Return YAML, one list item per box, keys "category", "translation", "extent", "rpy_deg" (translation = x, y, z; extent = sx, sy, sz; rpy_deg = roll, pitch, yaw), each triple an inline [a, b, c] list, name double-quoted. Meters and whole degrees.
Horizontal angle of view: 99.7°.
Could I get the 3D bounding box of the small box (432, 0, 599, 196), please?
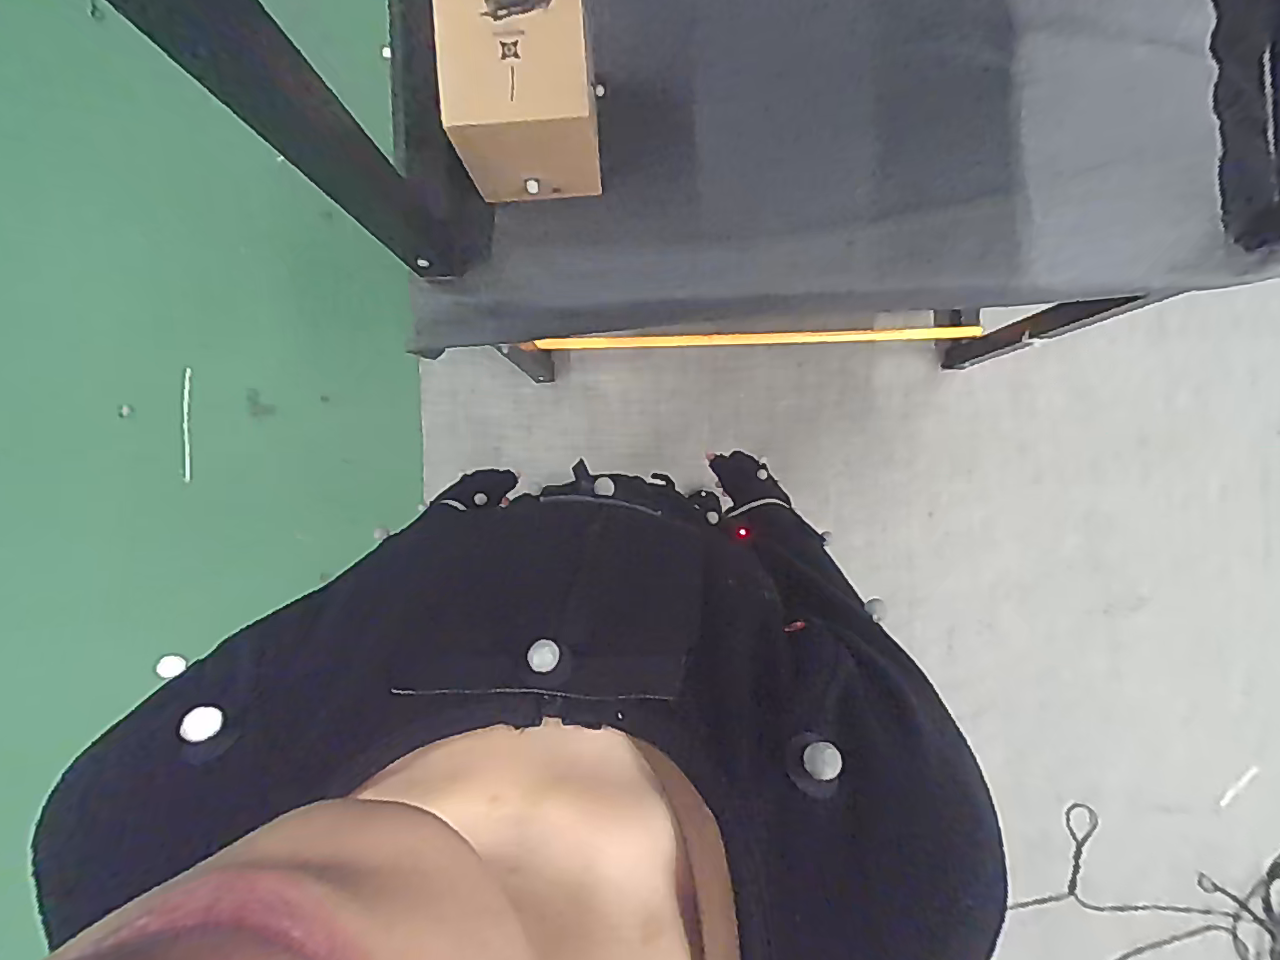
- category: "small box"
  translation: [-0.142, -0.482, 0.666]
  extent: [0.168, 0.176, 0.179]
  rpy_deg: [-4, 90, 1]
